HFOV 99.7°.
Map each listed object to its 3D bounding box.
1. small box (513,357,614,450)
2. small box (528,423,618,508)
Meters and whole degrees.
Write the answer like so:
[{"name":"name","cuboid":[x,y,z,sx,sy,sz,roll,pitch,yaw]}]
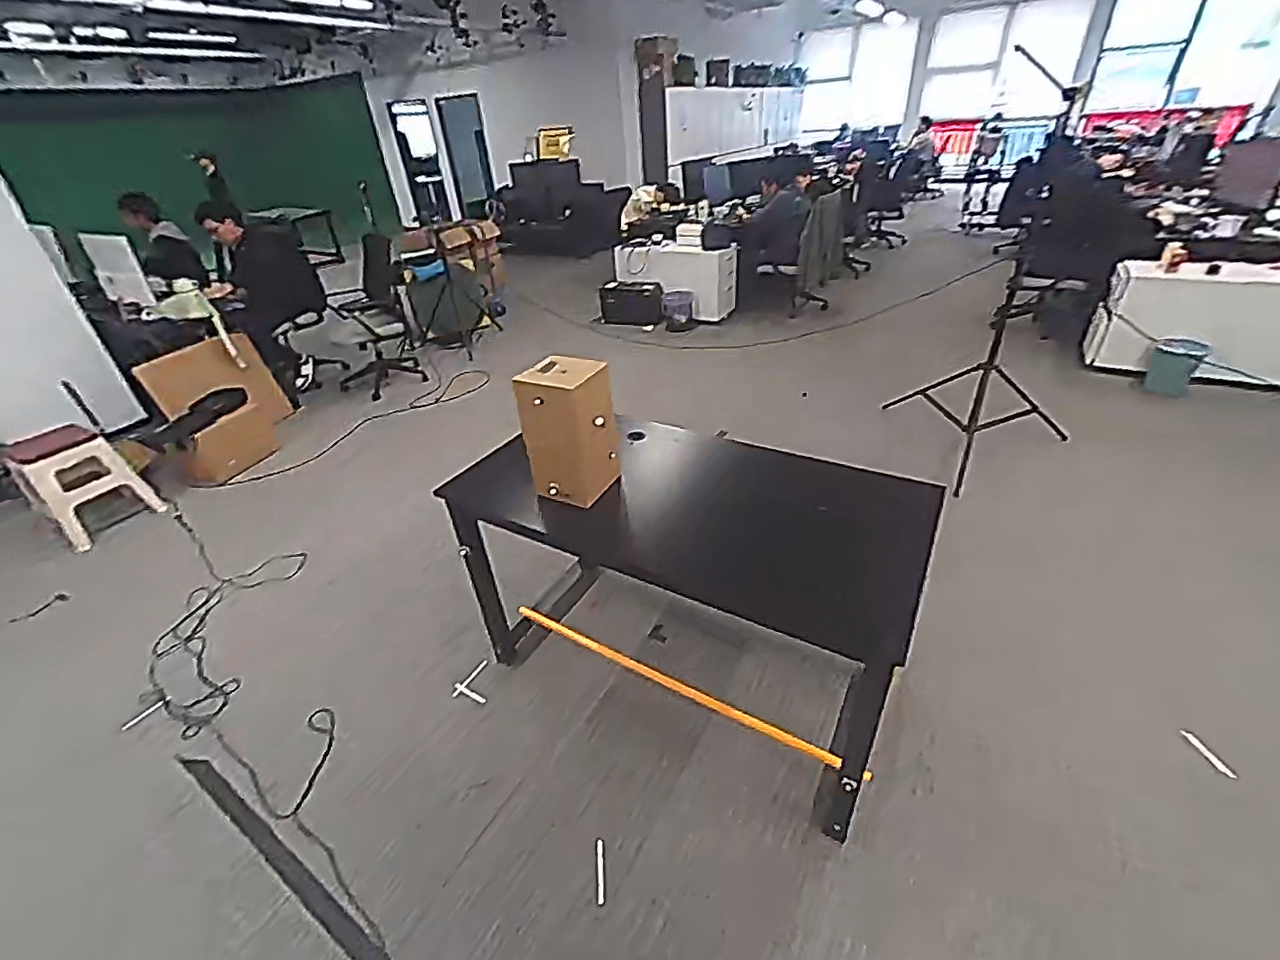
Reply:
[{"name":"small box","cuboid":[-0.182,-0.189,1.334,0.179,0.176,0.168,13,37,24]},{"name":"small box","cuboid":[-0.167,-0.054,1.427,0.168,0.176,0.179,12,38,25]}]
